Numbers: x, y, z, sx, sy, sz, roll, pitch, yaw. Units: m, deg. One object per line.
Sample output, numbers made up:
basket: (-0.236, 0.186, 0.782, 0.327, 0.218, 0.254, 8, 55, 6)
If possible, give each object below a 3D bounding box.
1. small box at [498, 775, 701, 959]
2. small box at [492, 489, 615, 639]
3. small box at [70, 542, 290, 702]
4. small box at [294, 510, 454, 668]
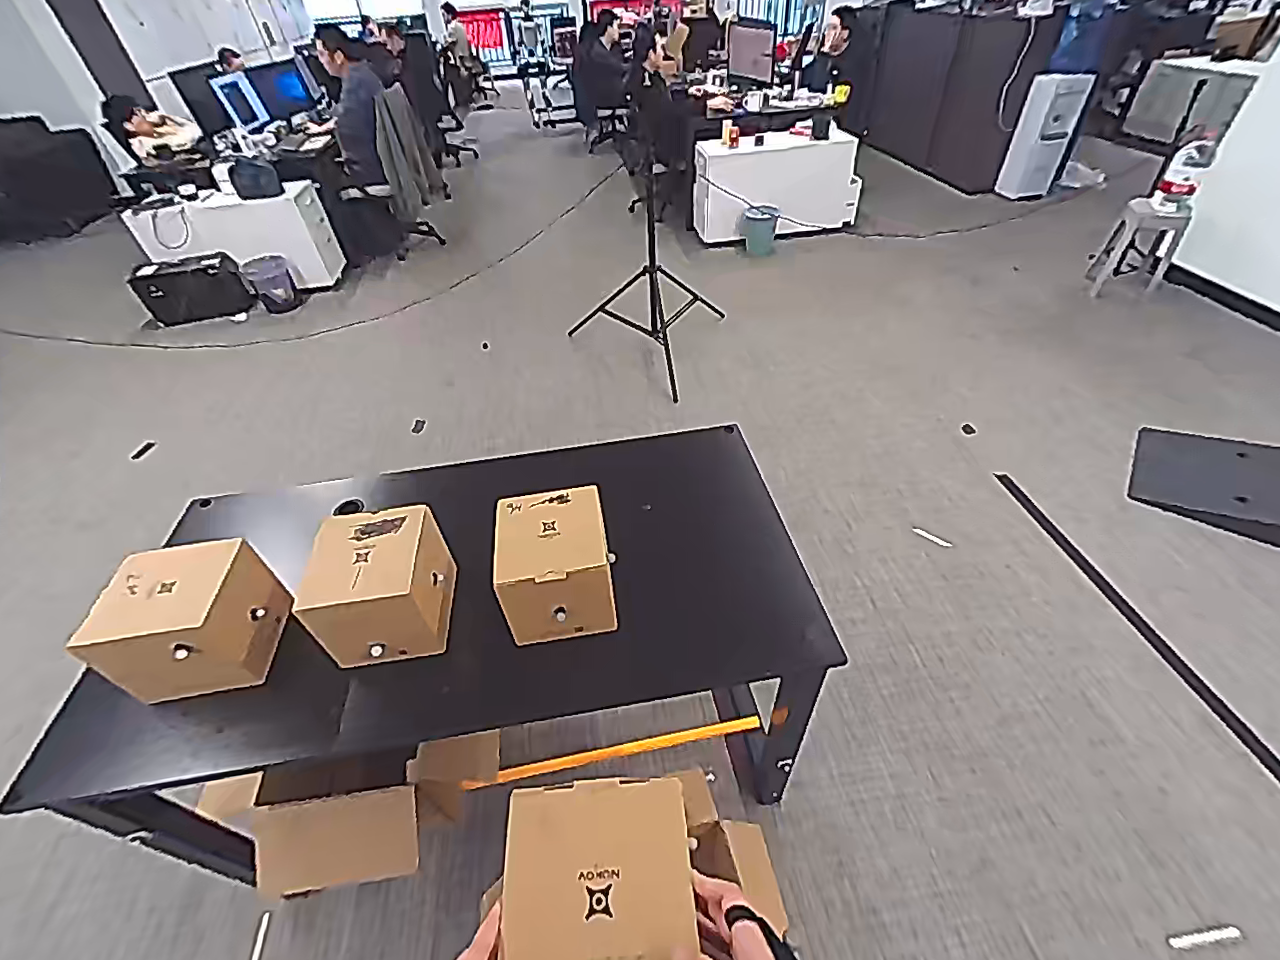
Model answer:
small box: (-0.036, 0.410, 0.523, 0.168, 0.176, 0.179, -4, 47, -3)
small box: (-0.137, 0.143, 0.887, 0.168, 0.176, 0.179, -9, 44, -4)
small box: (-0.691, 0.222, 0.844, 0.179, 0.176, 0.168, -9, 43, -5)
small box: (-0.411, 0.176, 0.873, 0.168, 0.176, 0.179, -8, 44, -3)
